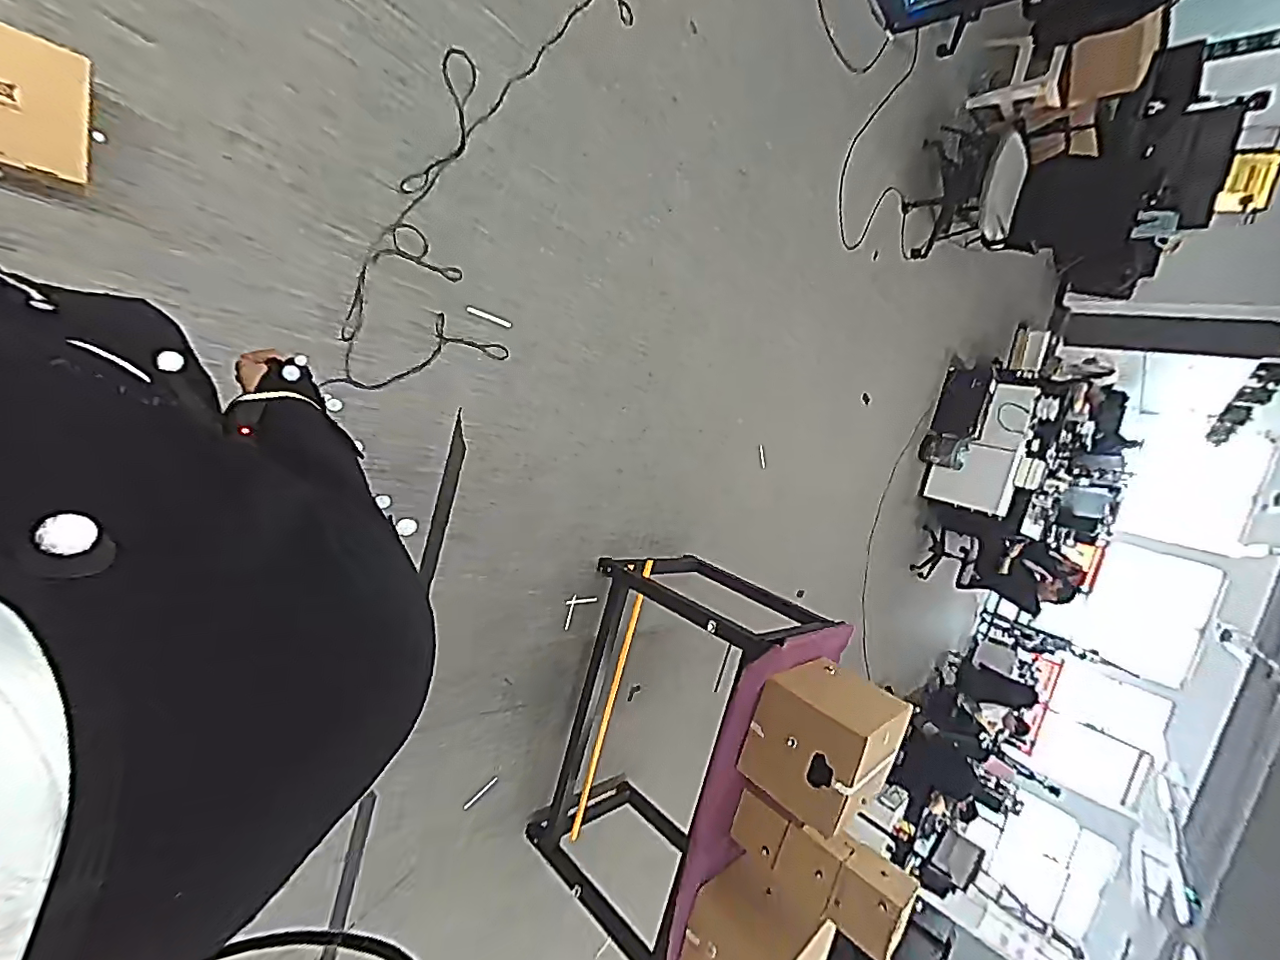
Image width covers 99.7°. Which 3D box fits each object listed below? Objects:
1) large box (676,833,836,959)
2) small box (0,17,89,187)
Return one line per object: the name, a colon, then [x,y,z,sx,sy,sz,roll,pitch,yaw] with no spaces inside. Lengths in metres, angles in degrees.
large box: [0.369,1.438,1.727,0.408,0.320,0.320,8,100,-50]
small box: [-0.921,-0.551,0.781,0.168,0.176,0.179,1,105,-47]
